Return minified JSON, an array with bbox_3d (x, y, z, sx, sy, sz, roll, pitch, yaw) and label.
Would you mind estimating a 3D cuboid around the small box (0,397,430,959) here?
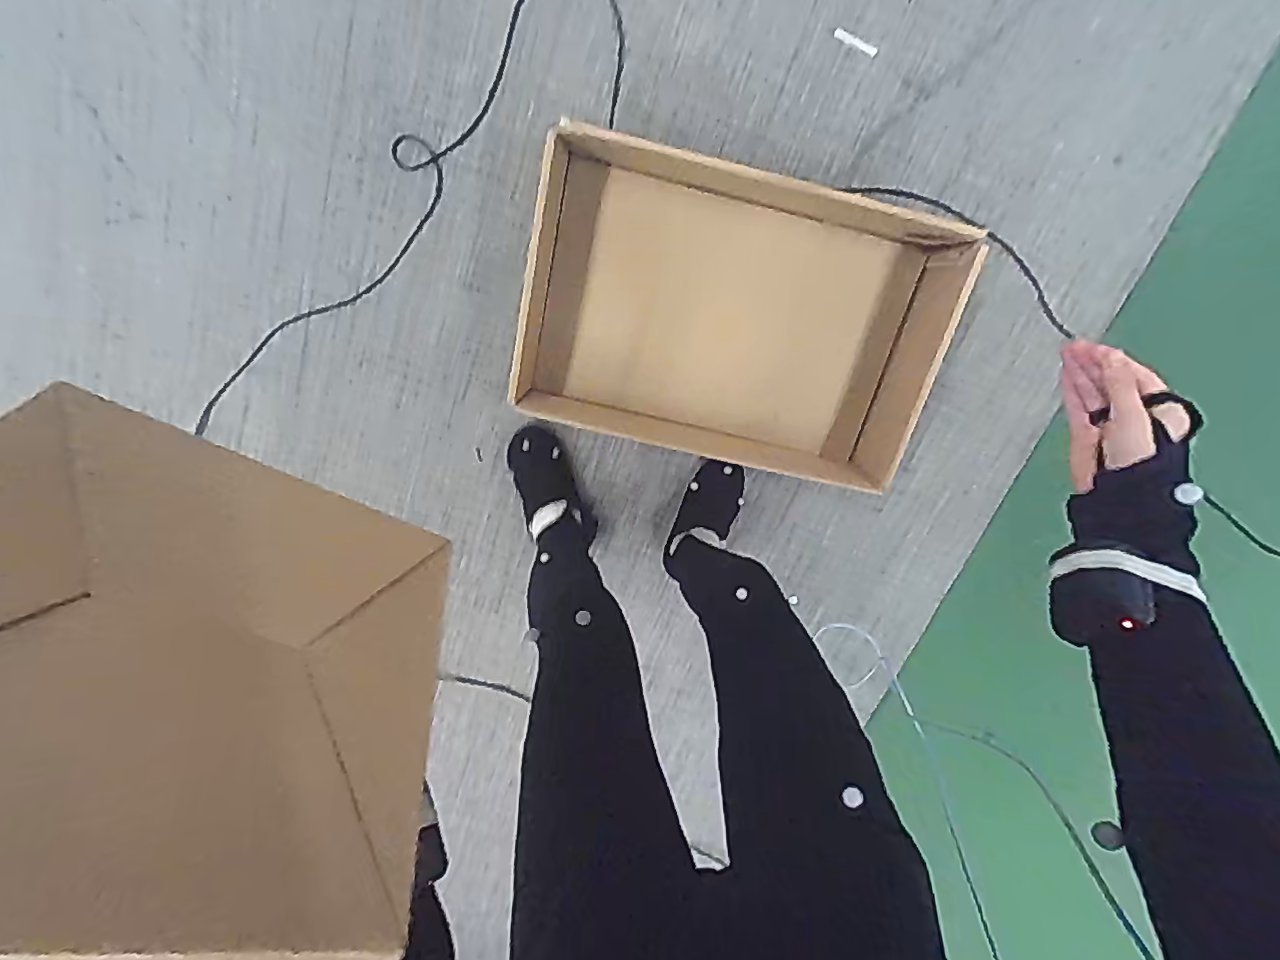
[{"bbox_3d":[-0.196,0.093,0.200,0.168,0.179,0.176,30,111,-30],"label":"small box"}]
